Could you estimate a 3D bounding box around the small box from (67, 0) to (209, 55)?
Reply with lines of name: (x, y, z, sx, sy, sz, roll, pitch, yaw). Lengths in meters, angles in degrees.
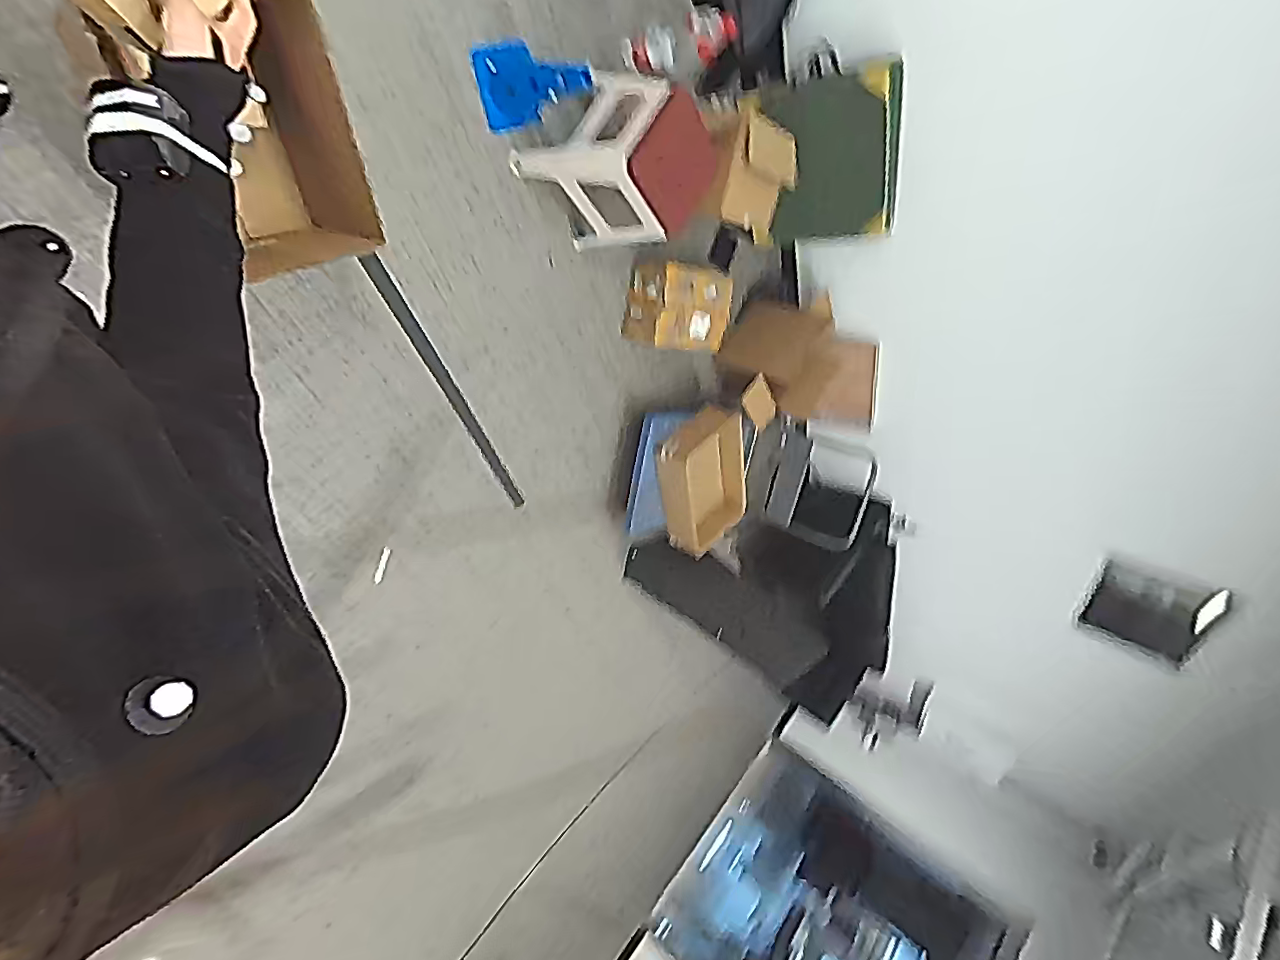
small box: (-0.454, -0.502, 0.443, 0.179, 0.176, 0.168, -52, 153, -5)
